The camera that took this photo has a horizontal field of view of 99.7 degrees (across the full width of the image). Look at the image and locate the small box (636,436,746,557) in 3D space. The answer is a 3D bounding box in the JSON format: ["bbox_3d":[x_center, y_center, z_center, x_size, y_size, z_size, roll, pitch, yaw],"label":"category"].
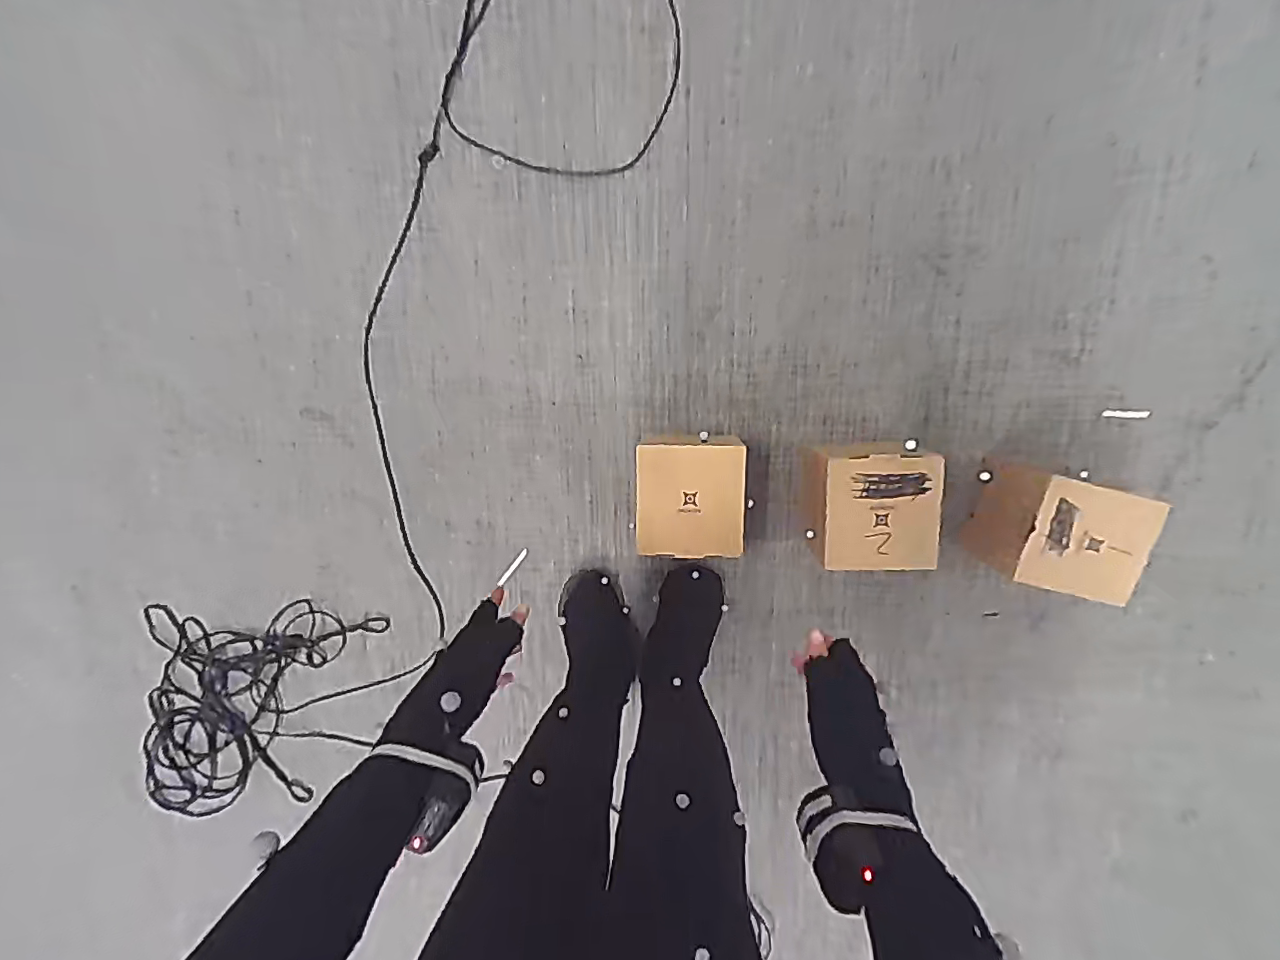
[{"bbox_3d":[0.081,0.019,0.900,0.168,0.176,0.179,0,101,4],"label":"small box"}]

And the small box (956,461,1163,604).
[{"bbox_3d":[0.648,0.073,0.863,0.179,0.176,0.168,14,101,0],"label":"small box"}]
